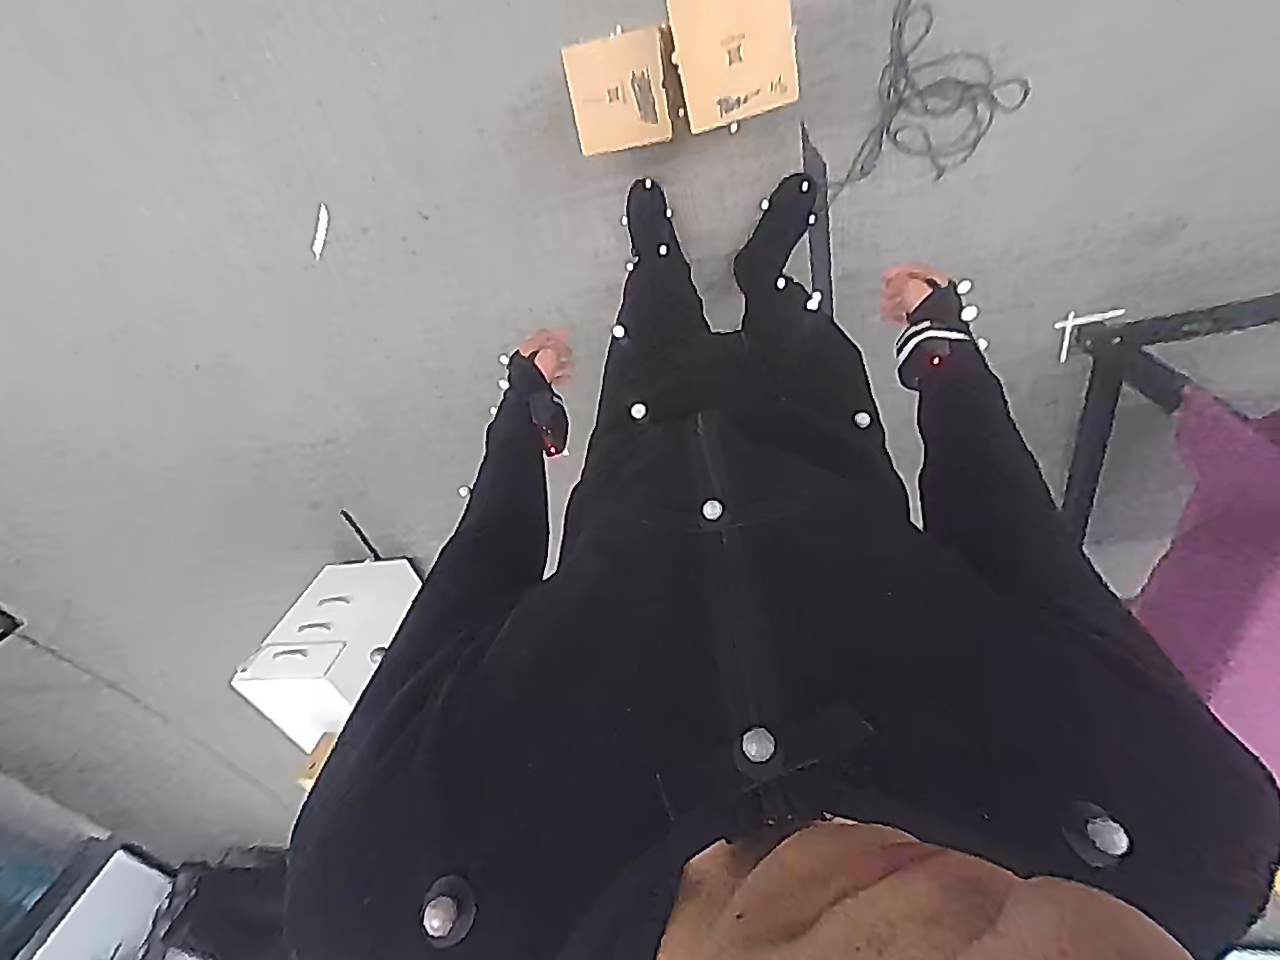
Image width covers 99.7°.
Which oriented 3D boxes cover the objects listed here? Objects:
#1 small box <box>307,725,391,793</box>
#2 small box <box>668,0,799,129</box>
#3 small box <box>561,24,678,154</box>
[{"bbox_3d":[-1.056,1.017,1.978,0.179,0.176,0.168,-7,125,16],"label":"small box"},{"bbox_3d":[0.144,-0.662,0.825,0.168,0.176,0.179,-8,124,16],"label":"small box"},{"bbox_3d":[-0.027,-0.730,1.012,0.179,0.176,0.168,-3,126,14],"label":"small box"}]
